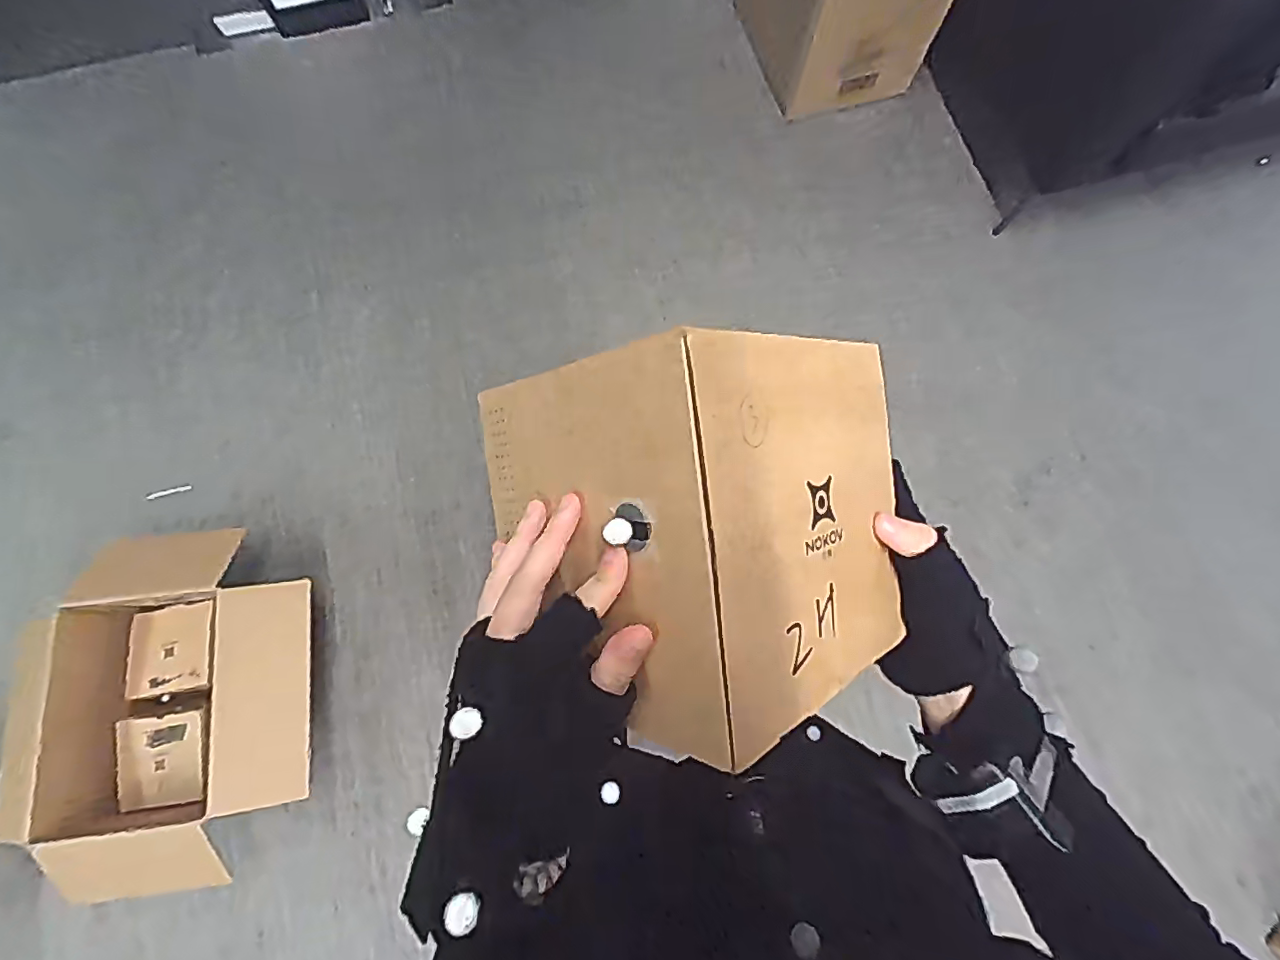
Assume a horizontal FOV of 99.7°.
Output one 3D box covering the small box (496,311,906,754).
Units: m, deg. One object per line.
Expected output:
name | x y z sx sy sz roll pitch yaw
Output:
small box | 0.032 0.017 0.316 0.168 0.176 0.179 -9 94 -42
